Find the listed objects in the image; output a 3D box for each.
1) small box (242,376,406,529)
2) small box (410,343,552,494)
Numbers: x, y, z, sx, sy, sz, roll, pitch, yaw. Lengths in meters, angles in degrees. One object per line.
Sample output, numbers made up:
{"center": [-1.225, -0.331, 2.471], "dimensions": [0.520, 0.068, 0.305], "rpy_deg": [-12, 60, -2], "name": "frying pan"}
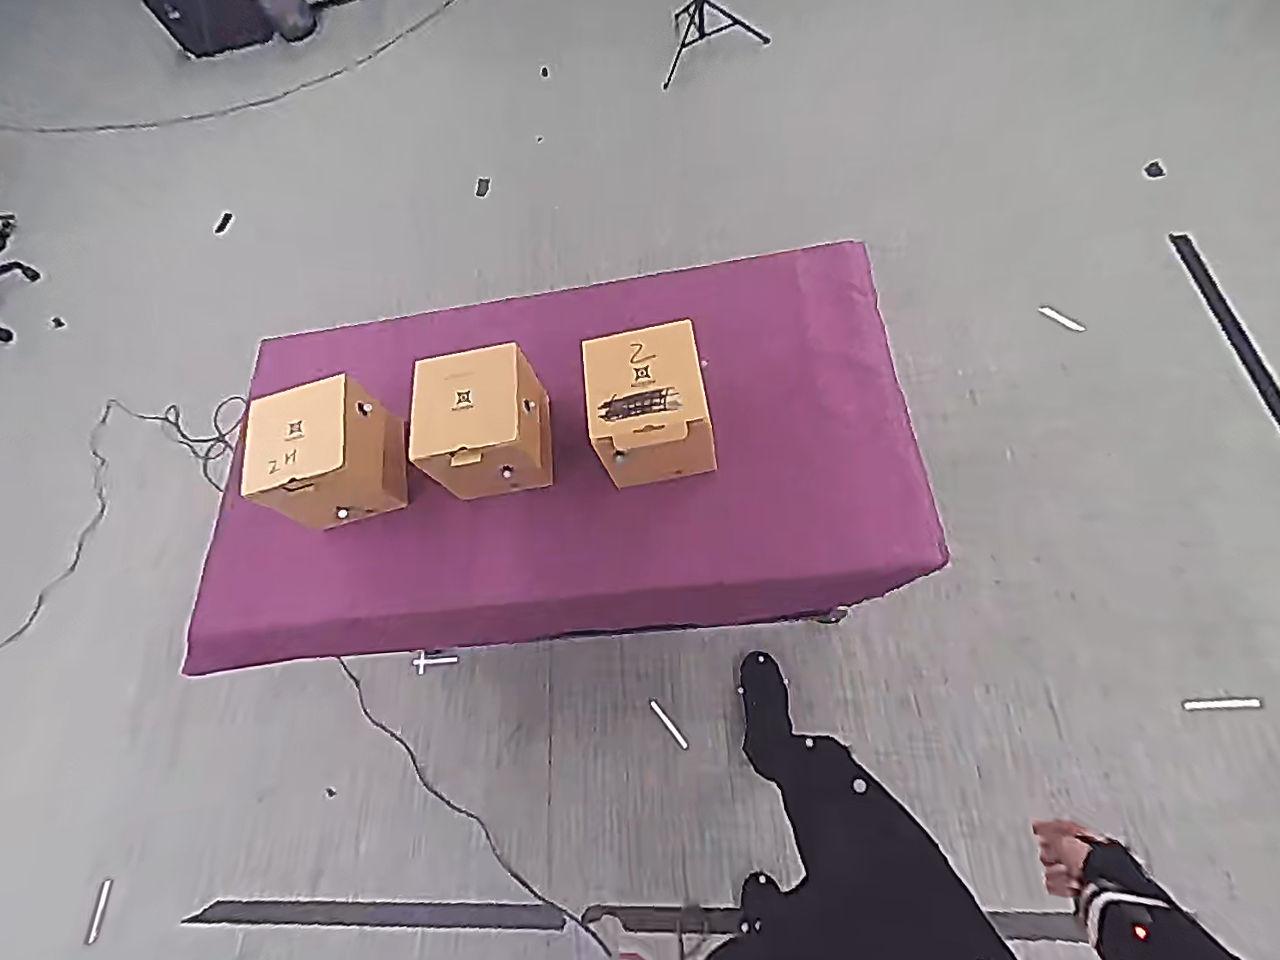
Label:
{"center": [-0.510, -0.039, 0.896], "dimensions": [0.168, 0.176, 0.179], "rpy_deg": [-16, 66, 4], "name": "small box"}
{"center": [-0.245, -0.087, 0.869], "dimensions": [0.168, 0.176, 0.179], "rpy_deg": [-9, 66, 6], "name": "small box"}
